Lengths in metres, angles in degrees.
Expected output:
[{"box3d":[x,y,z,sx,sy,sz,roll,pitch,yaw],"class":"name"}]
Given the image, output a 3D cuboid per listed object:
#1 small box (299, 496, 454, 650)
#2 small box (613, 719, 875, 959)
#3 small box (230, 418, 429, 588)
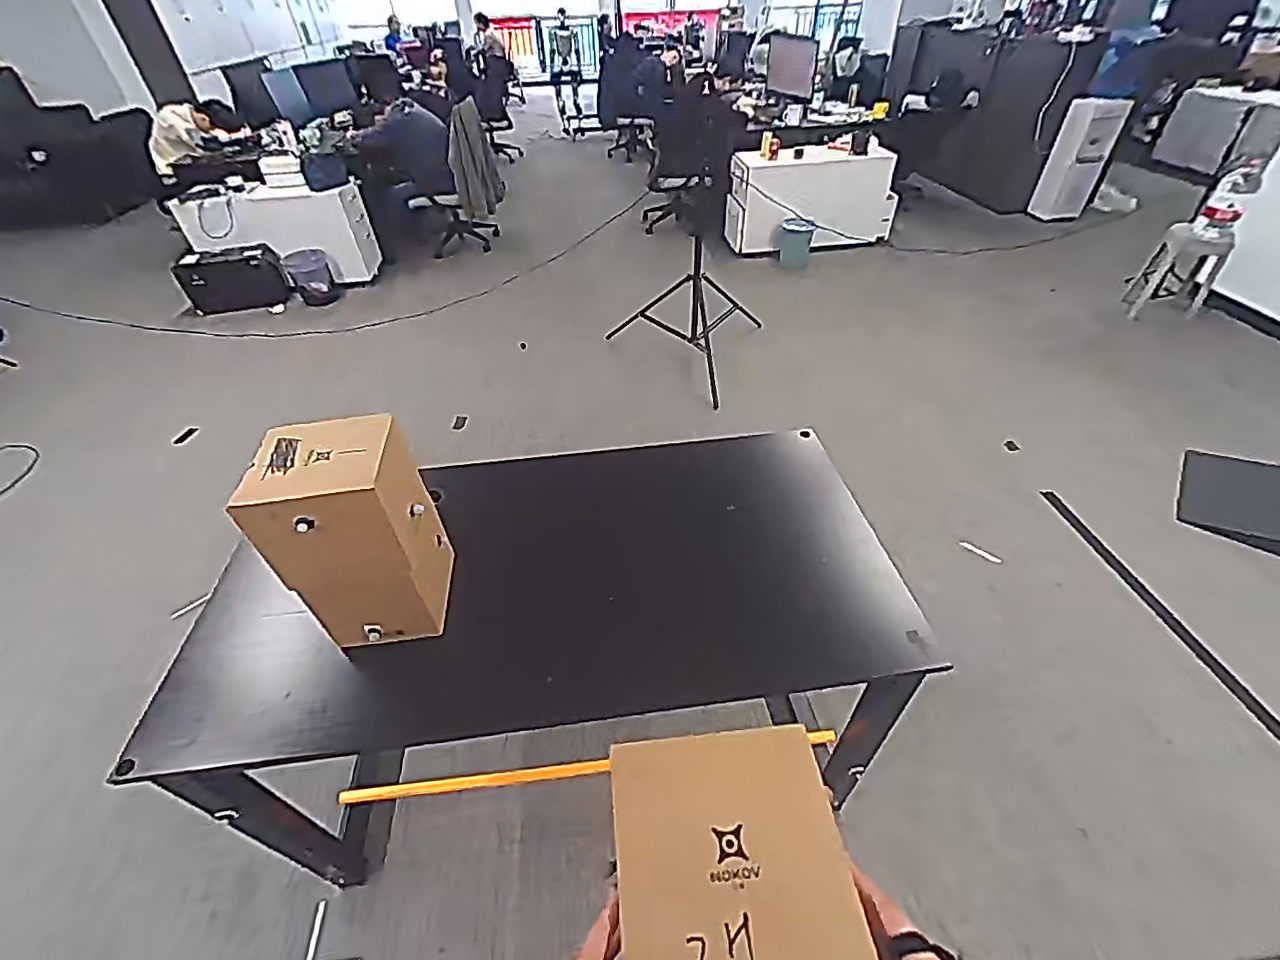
[{"box3d":[-0.416,0.152,0.892,0.168,0.176,0.179,-8,43,-4],"class":"small box"},{"box3d":[0.066,0.327,0.448,0.168,0.176,0.179,-6,44,-3],"class":"small box"},{"box3d":[-0.425,0.035,0.776,0.179,0.176,0.168,-9,42,-6],"class":"small box"}]
